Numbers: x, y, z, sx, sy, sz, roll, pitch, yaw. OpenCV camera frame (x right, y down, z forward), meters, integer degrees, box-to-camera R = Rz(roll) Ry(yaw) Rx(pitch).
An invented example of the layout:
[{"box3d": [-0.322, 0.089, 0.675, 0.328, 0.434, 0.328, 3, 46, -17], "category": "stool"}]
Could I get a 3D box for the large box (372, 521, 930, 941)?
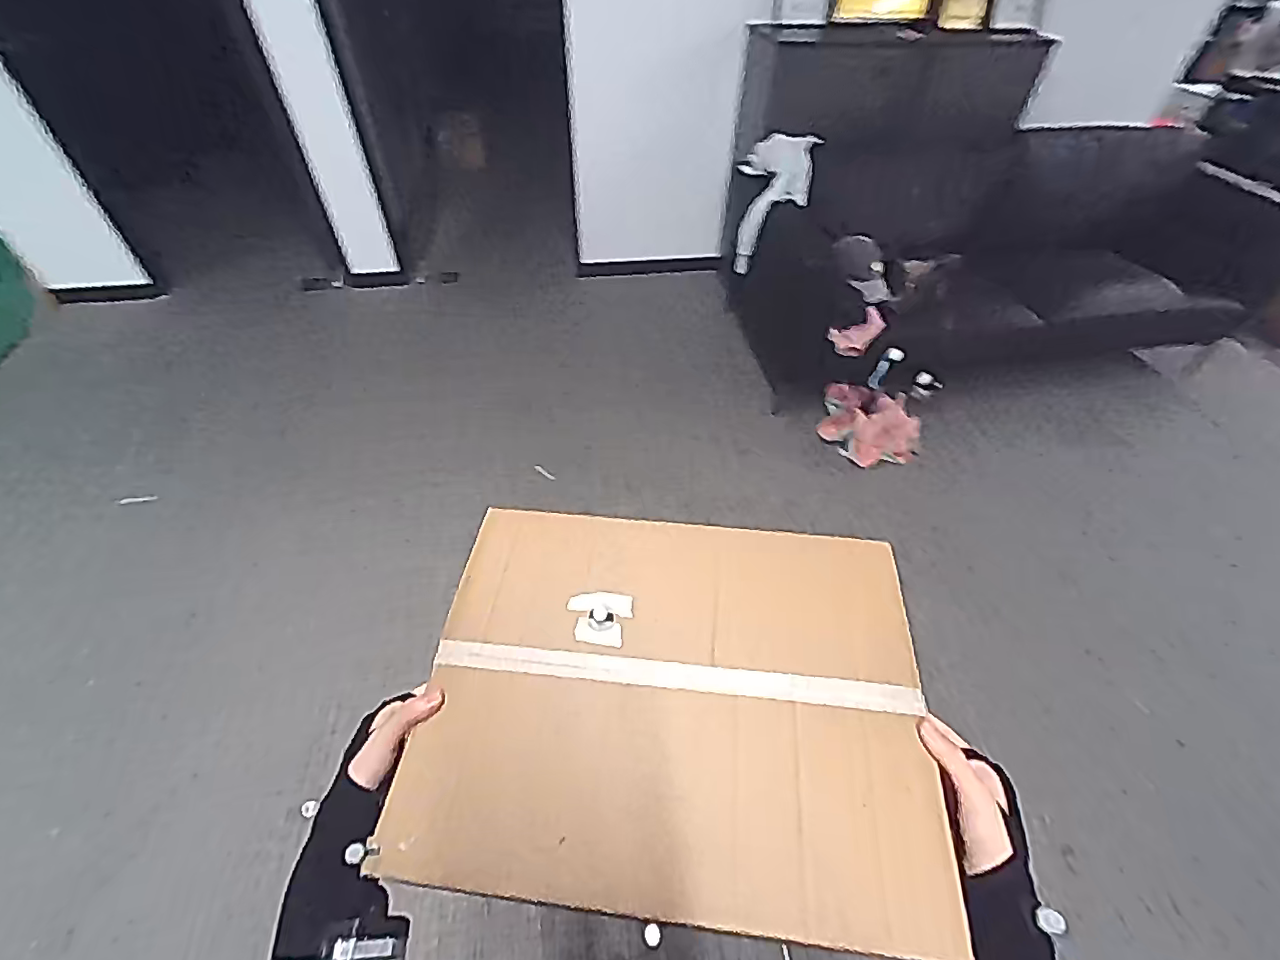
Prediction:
[{"box3d": [0.021, 0.265, 0.585, 0.408, 0.320, 0.320, 4, 52, 5], "category": "large box"}]
